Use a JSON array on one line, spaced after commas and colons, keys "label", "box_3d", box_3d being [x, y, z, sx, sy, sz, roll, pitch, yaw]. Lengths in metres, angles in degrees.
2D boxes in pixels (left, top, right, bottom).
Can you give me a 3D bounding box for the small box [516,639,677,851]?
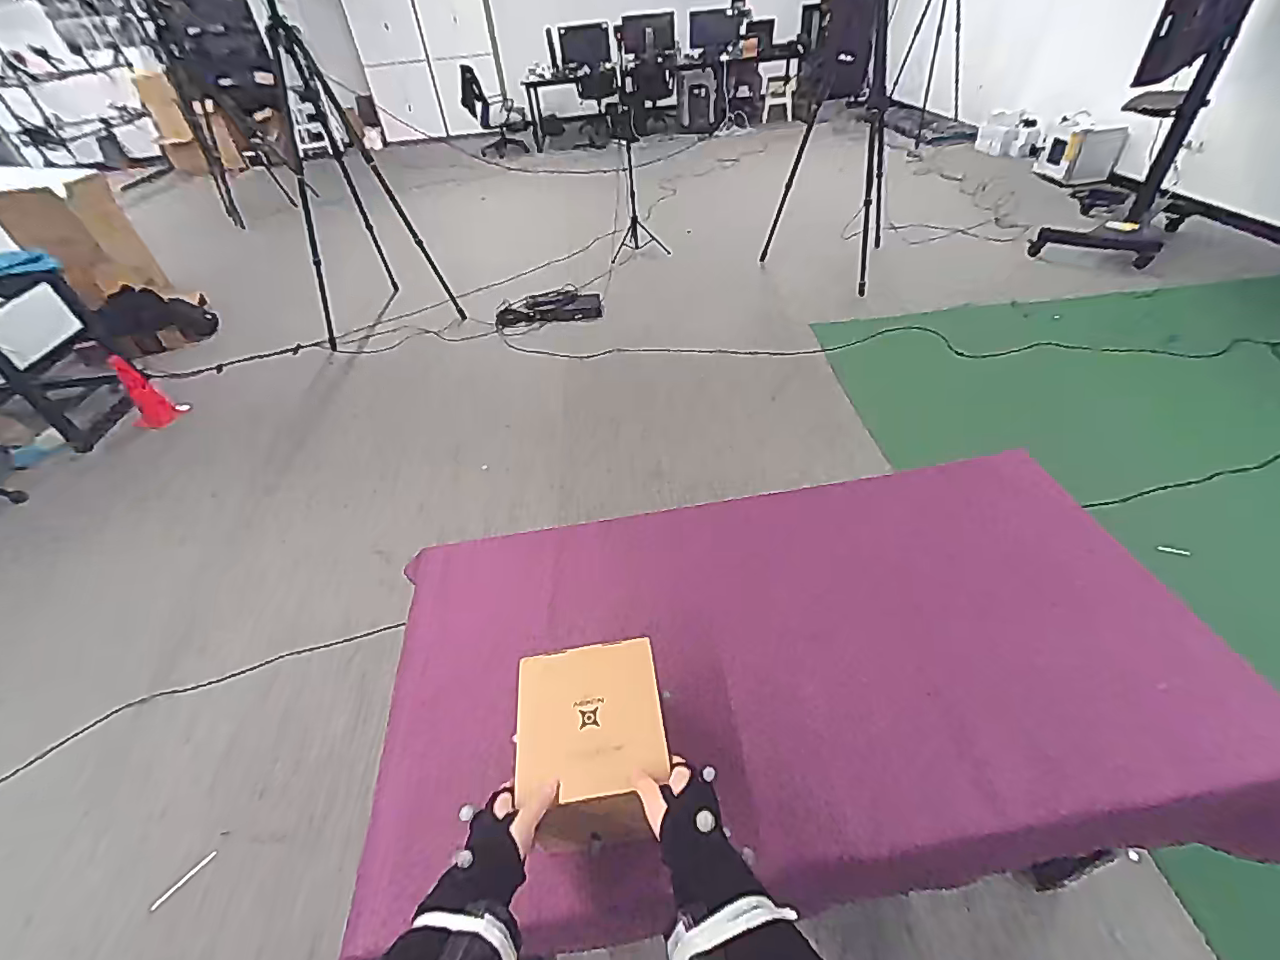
[{"label": "small box", "box_3d": [-0.049, 0.327, 0.670, 0.168, 0.176, 0.179, -9, 43, -1]}]
